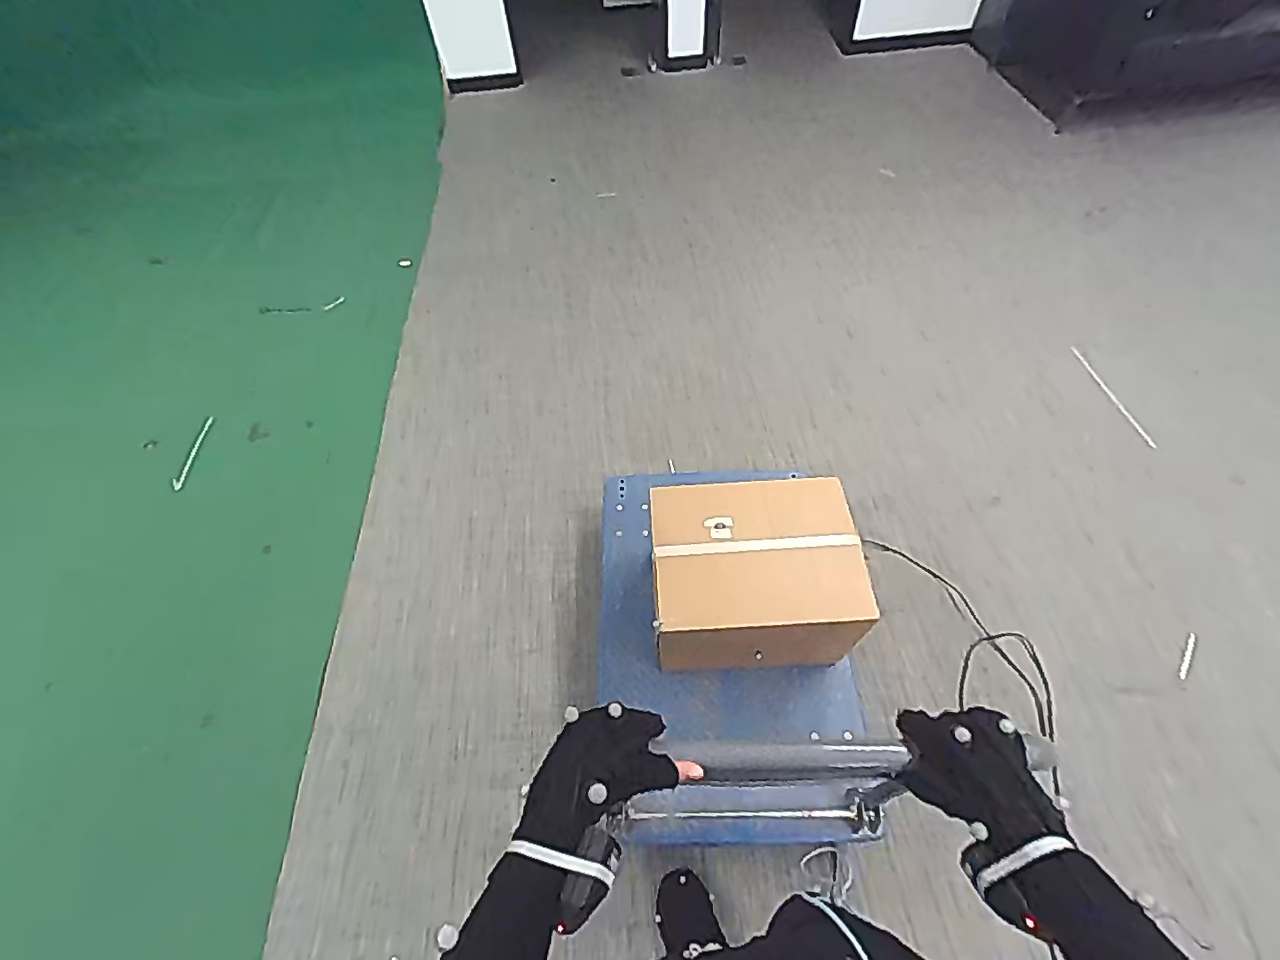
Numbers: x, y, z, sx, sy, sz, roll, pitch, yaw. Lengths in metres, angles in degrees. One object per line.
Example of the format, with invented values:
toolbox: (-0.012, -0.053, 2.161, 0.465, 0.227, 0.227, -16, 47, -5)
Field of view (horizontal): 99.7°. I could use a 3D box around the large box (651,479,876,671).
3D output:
large box: (0.242, 0.223, 1.204, 0.408, 0.320, 0.320, -5, 57, 2)
